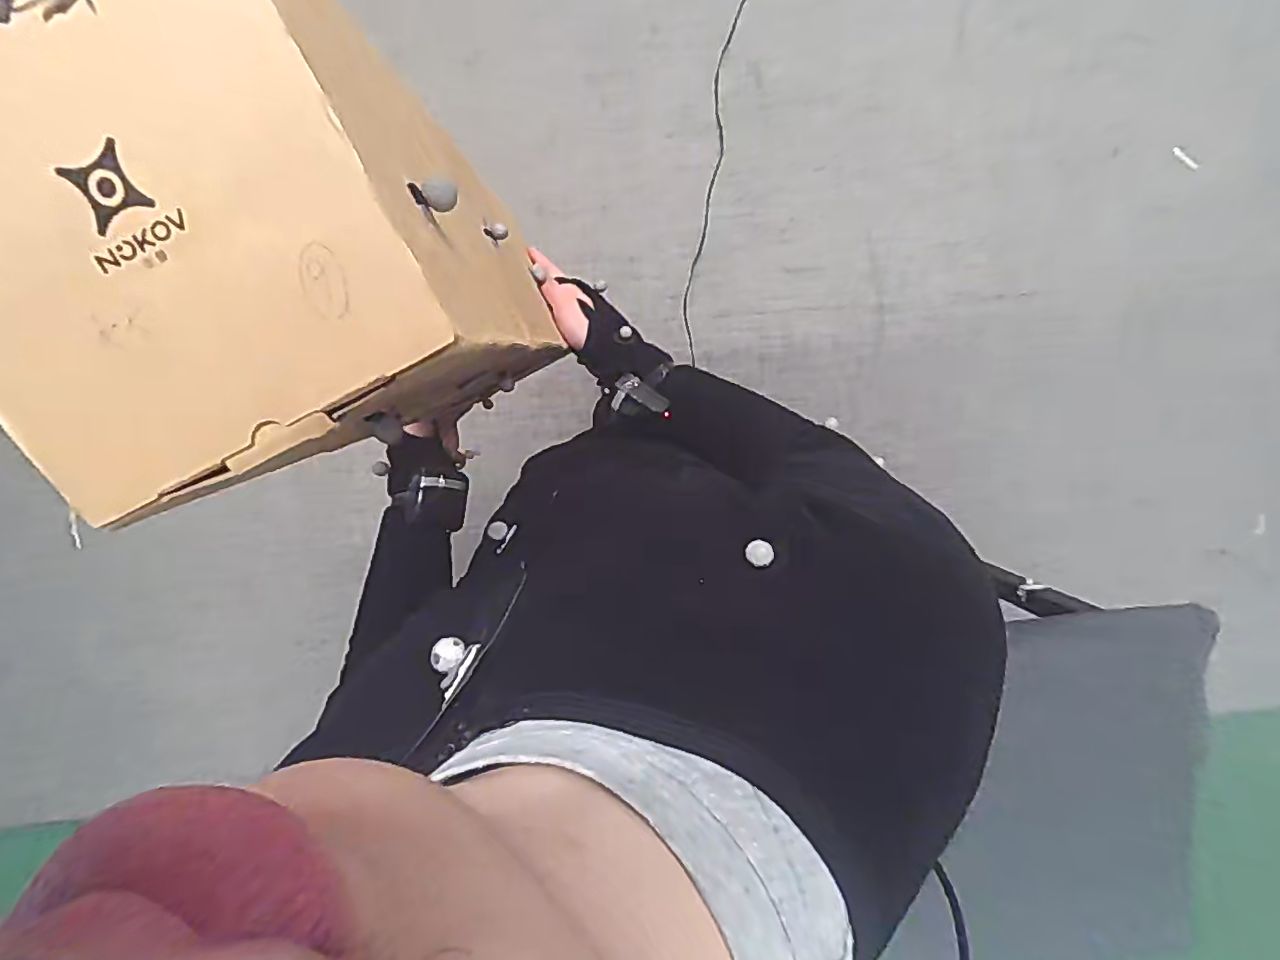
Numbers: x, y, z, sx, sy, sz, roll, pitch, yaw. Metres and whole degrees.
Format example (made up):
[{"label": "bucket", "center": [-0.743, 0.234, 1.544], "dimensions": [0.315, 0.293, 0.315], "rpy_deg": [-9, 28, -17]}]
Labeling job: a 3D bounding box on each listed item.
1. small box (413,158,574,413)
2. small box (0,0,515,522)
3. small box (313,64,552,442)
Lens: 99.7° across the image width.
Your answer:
[{"label": "small box", "center": [-0.183, -0.192, 0.570], "dimensions": [0.168, 0.176, 0.179], "rpy_deg": [-26, 103, 6]}, {"label": "small box", "center": [-0.178, -0.112, 0.254], "dimensions": [0.168, 0.176, 0.179], "rpy_deg": [-25, 105, 4]}, {"label": "small box", "center": [-0.183, -0.153, 0.413], "dimensions": [0.168, 0.176, 0.179], "rpy_deg": [-26, 103, 5]}]
